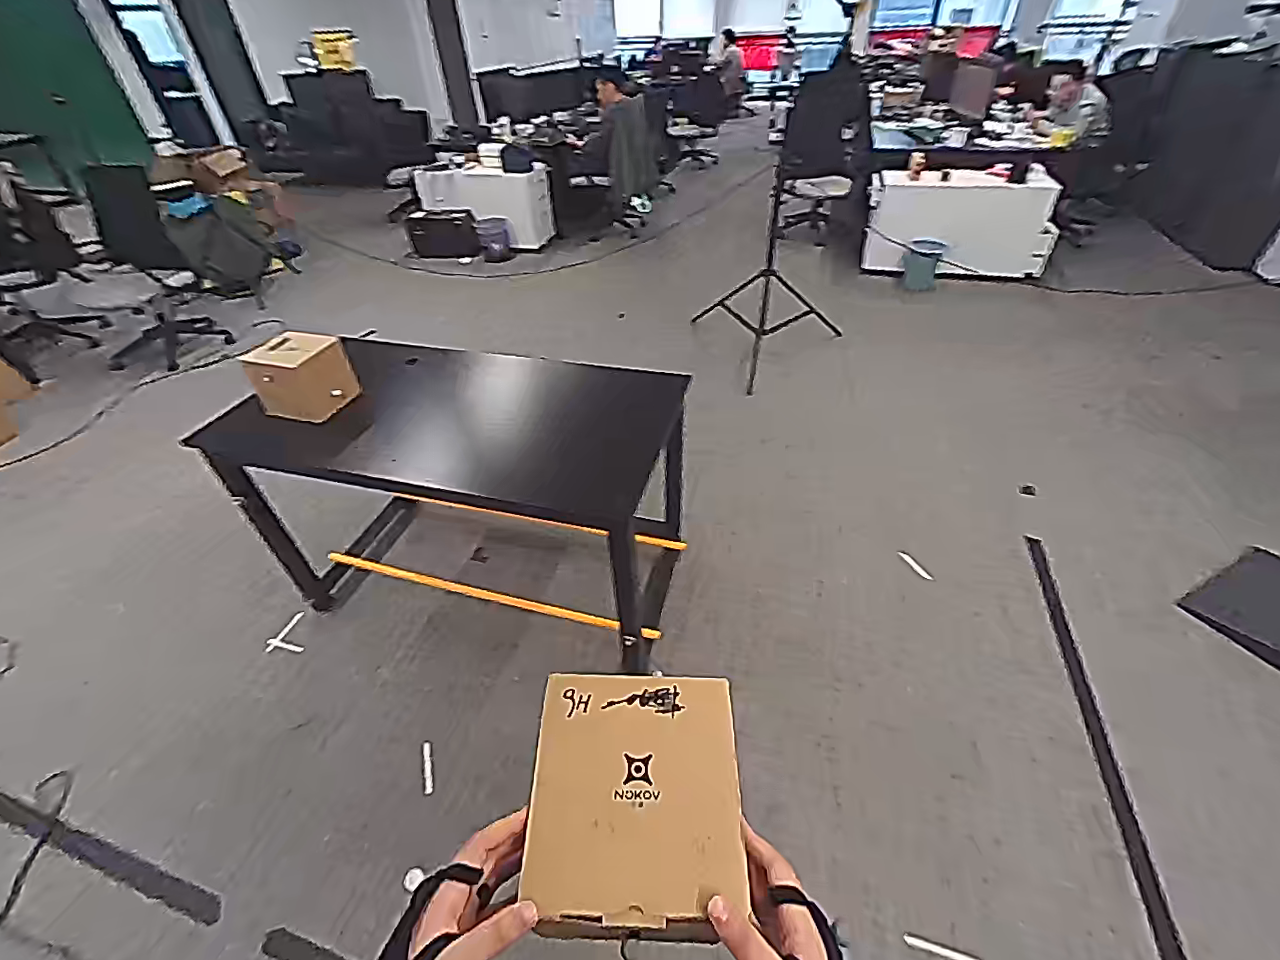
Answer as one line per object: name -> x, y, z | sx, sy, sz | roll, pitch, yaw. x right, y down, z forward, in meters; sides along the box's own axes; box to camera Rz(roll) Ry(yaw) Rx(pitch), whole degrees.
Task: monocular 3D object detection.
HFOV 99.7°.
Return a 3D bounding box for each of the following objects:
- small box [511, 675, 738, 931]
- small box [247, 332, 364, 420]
small box -> -0.010, 0.298, 0.496 | 0.168, 0.176, 0.179 | 1, 48, -1
small box -> -0.887, -0.279, 1.452 | 0.179, 0.176, 0.168 | 11, 43, 14
